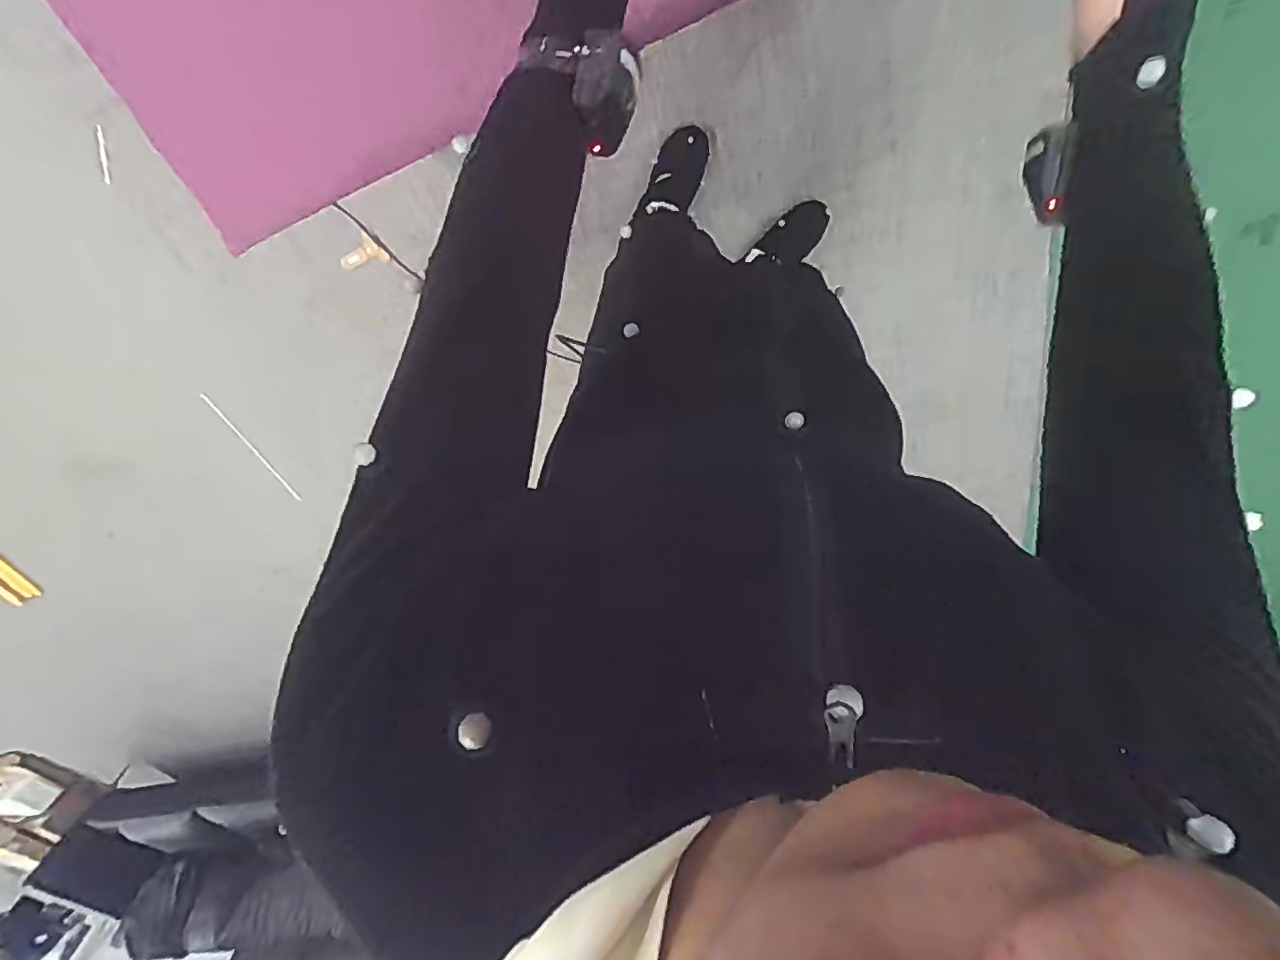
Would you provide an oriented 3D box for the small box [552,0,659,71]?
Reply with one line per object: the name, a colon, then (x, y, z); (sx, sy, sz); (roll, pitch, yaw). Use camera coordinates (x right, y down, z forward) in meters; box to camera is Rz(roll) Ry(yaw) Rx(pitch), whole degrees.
small box: (-0.066, -0.938, 1.065); (0.179, 0.176, 0.168); (-13, 124, 16)
